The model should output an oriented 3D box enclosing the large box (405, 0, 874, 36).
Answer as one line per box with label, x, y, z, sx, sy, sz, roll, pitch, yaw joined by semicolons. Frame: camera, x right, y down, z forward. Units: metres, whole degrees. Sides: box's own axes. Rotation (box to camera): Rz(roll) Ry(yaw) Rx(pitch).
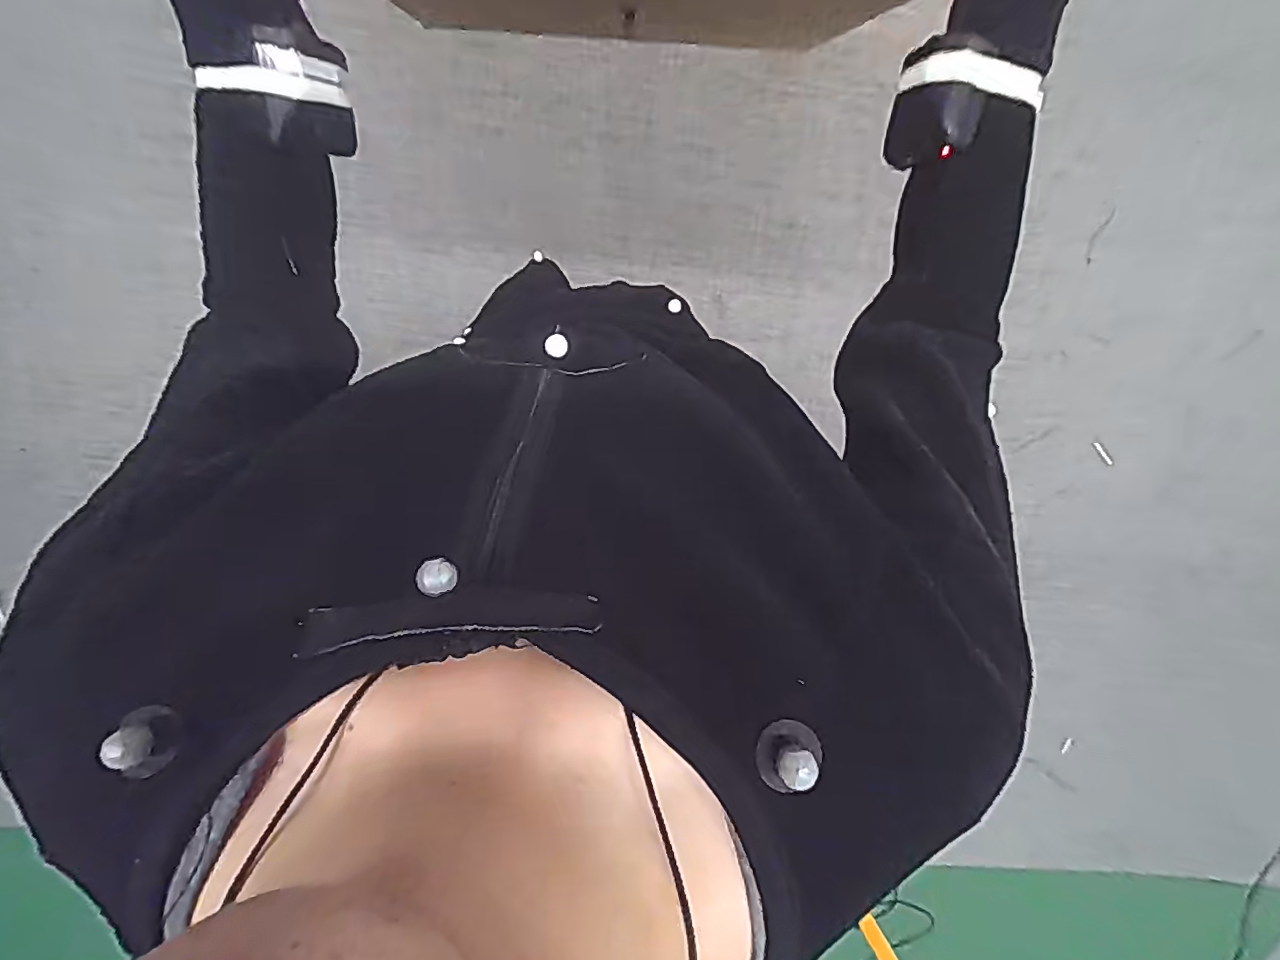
large box;0.000;-0.518;0.362;0.408;0.320;0.320;0;121;-4
